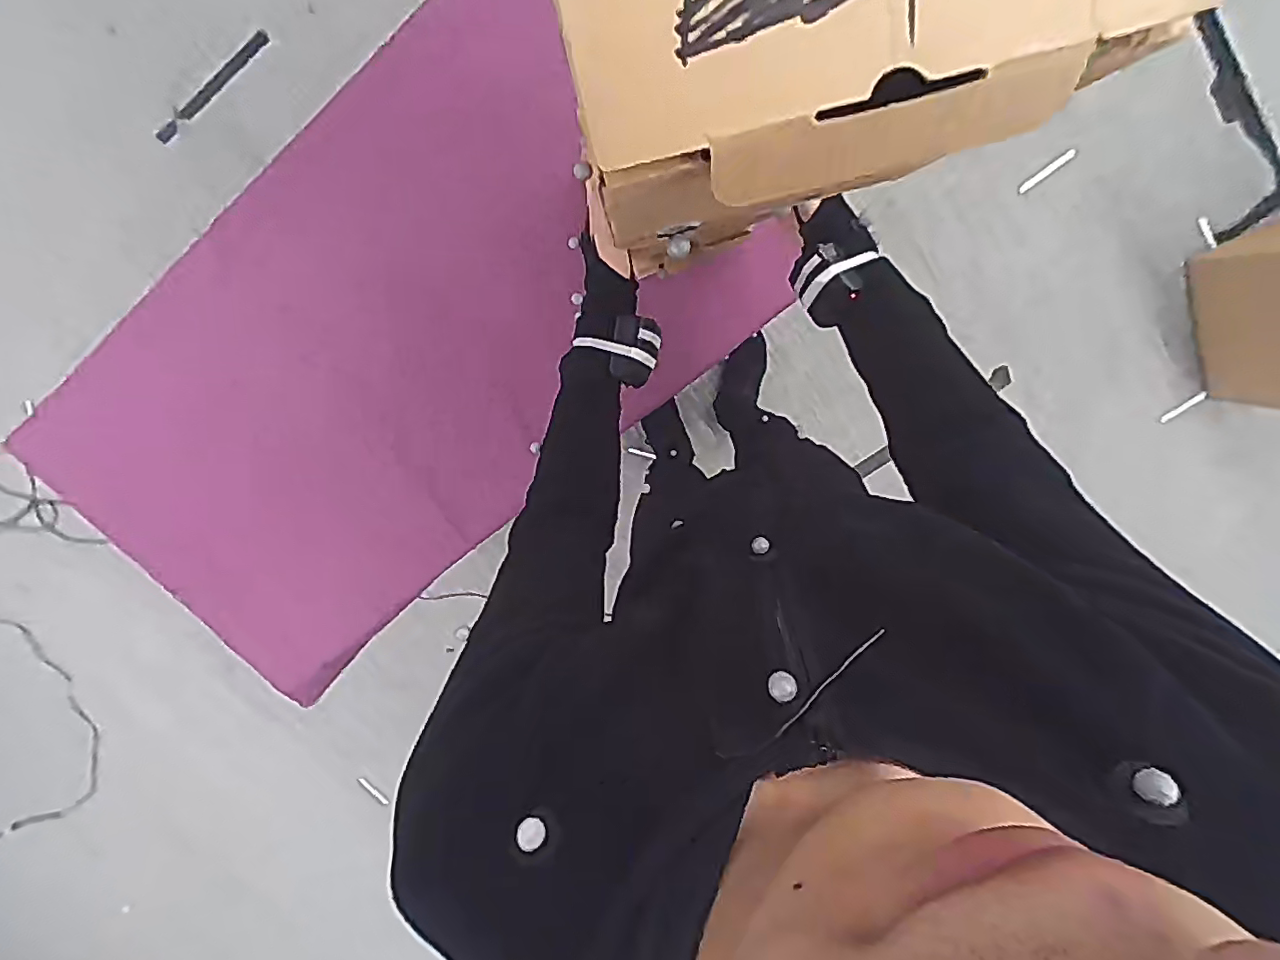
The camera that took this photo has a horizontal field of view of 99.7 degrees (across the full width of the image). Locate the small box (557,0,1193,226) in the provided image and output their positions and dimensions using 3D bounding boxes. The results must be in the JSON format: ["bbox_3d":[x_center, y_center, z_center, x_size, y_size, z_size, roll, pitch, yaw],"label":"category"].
[{"bbox_3d":[0.049,-0.207,0.200,0.168,0.176,0.179,-13,106,3],"label":"small box"}]
